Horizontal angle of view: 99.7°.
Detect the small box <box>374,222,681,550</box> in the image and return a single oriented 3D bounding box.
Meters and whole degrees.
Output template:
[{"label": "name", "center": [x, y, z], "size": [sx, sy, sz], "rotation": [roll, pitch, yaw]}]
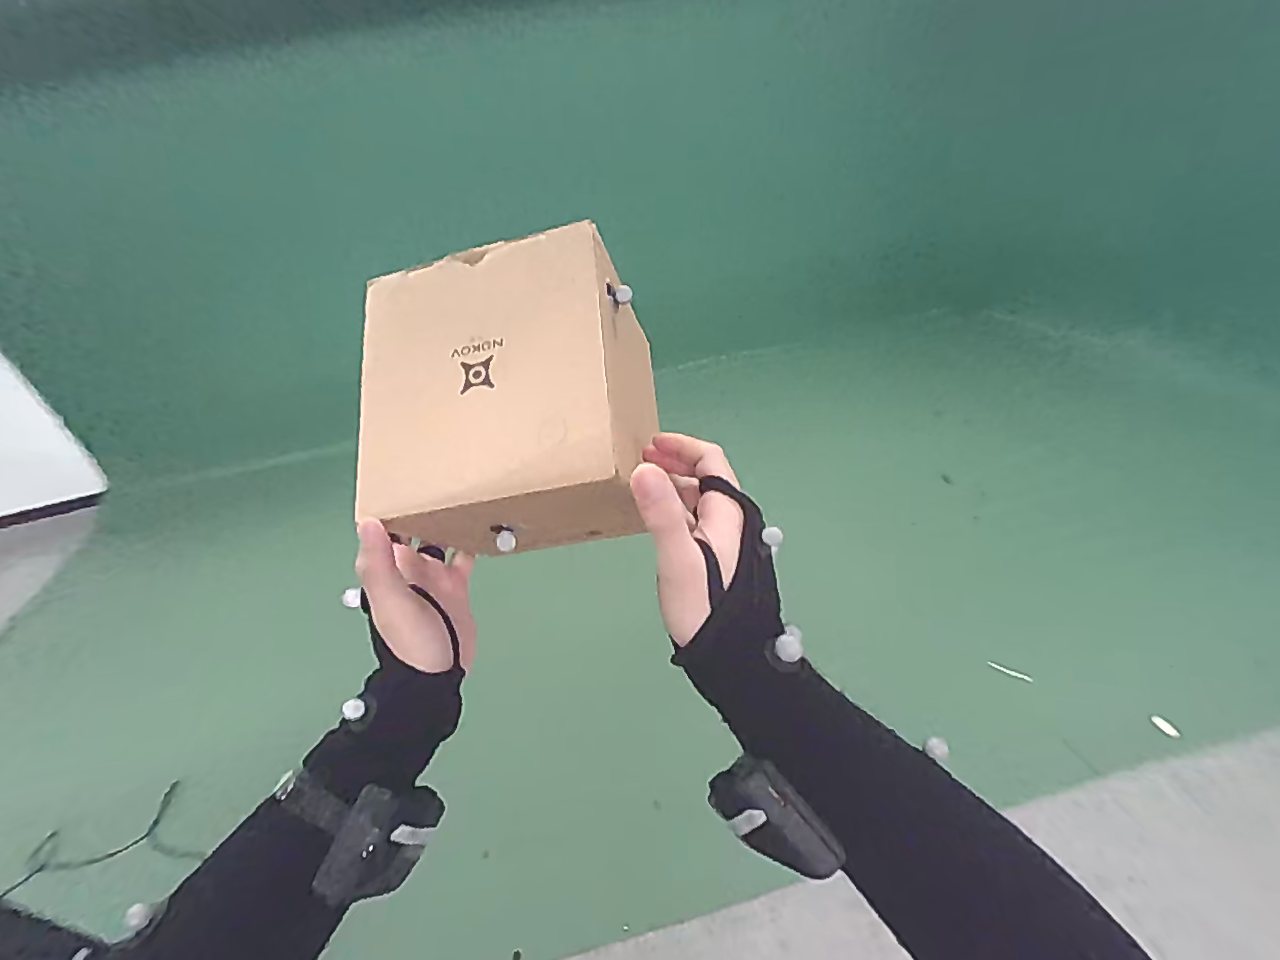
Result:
[{"label": "small box", "center": [-0.070, -0.047, 0.408], "size": [0.168, 0.176, 0.179], "rotation": [-10, 71, 12]}]
